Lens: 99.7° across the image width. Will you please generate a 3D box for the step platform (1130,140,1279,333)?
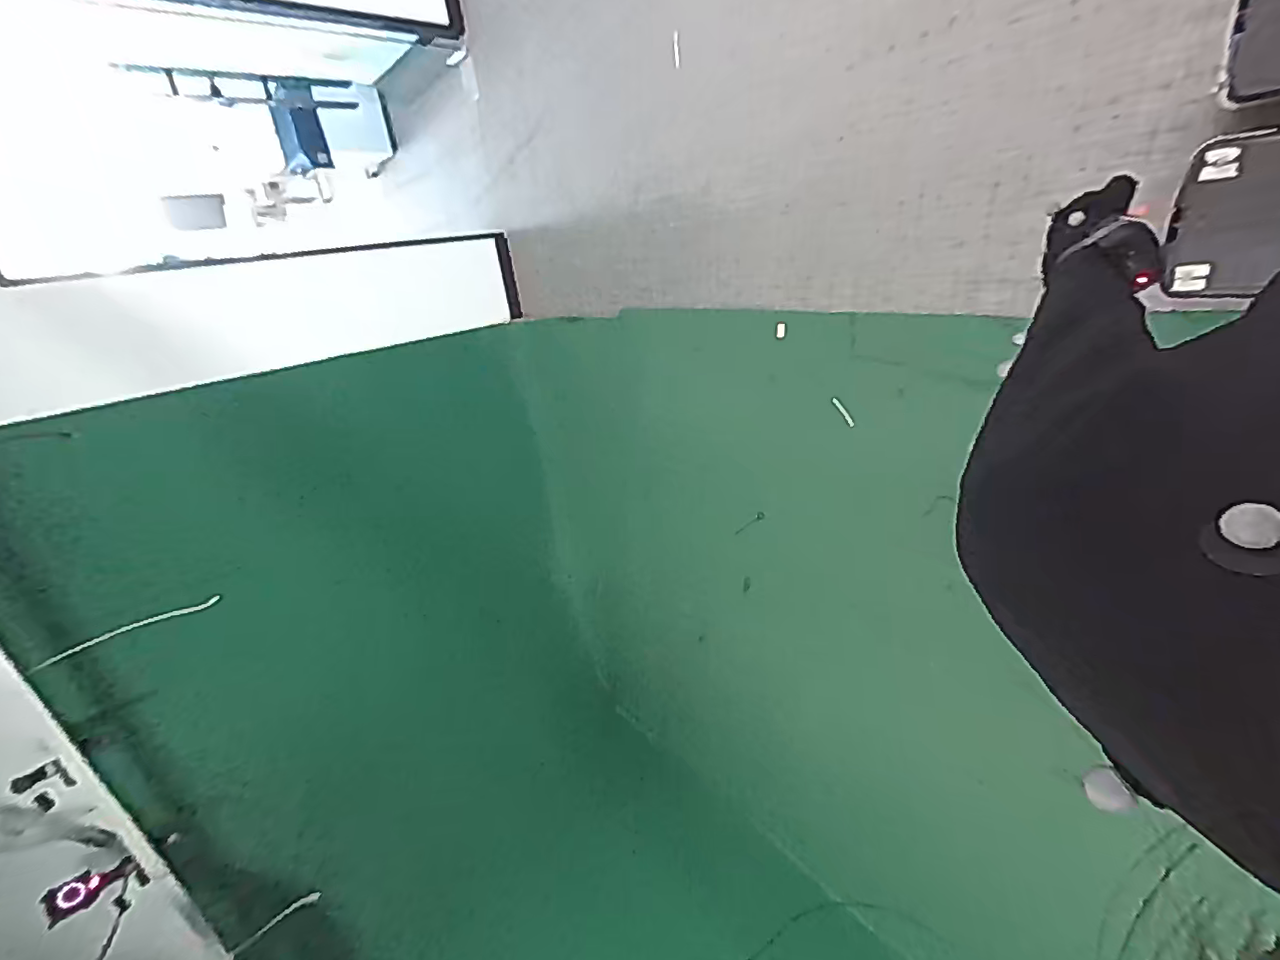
[{"bbox_3d":[1.157,-0.359,0.750,0.684,0.204,0.286,17,123,44],"label":"step platform"}]
